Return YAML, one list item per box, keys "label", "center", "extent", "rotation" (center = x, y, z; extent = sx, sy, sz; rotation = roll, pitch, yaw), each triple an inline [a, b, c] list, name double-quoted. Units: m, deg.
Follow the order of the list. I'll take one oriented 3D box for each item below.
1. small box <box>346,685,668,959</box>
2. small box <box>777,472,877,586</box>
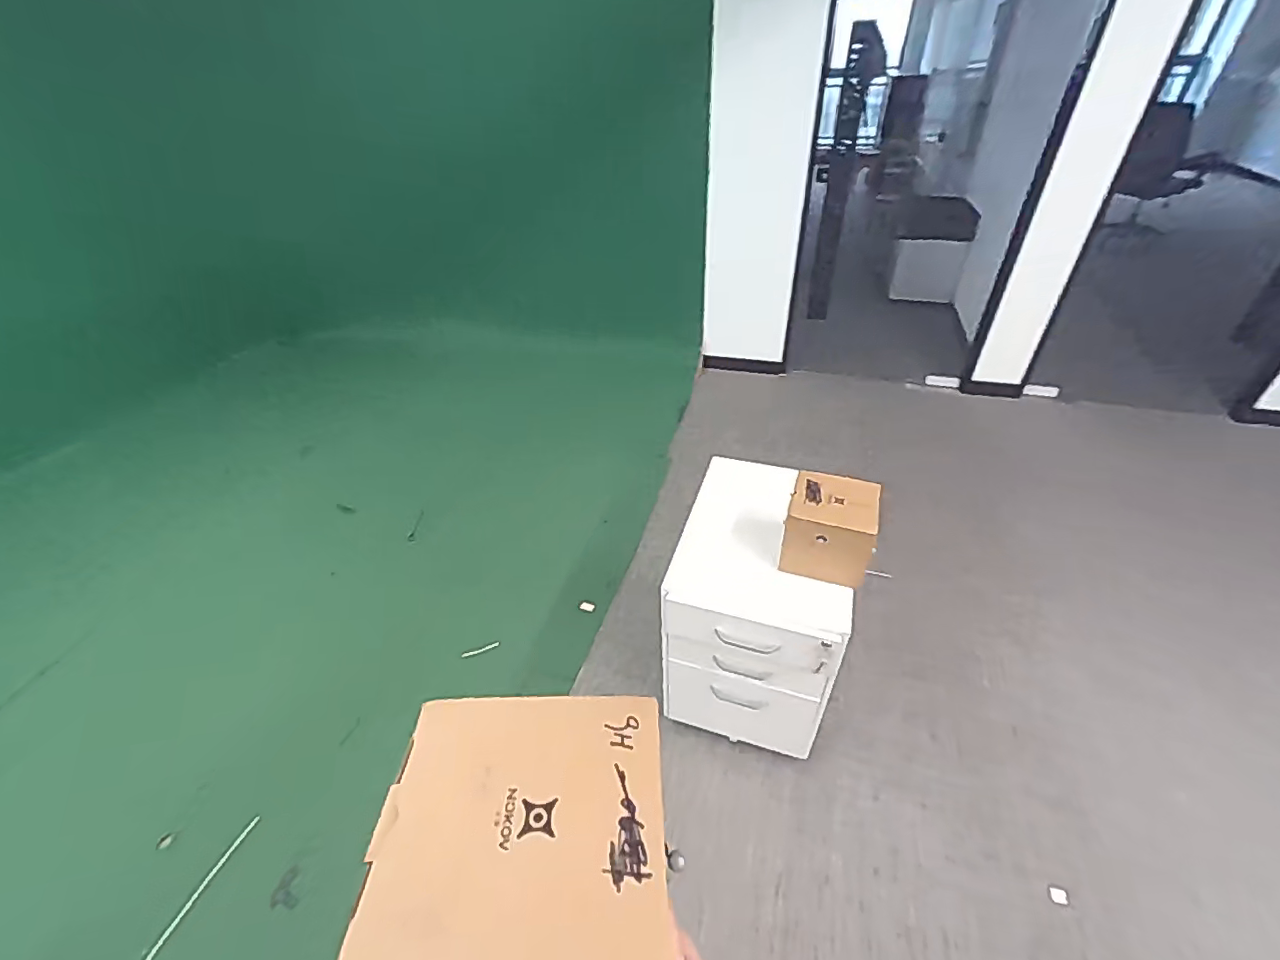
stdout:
- label: "small box"
  center: [-0.071, 0.272, 0.395]
  extent: [0.179, 0.176, 0.168]
  rotation: [0, 36, -1]
- label: "small box"
  center: [0.408, 0.109, 1.192]
  extent: [0.179, 0.176, 0.168]
  rotation: [12, 41, 18]
